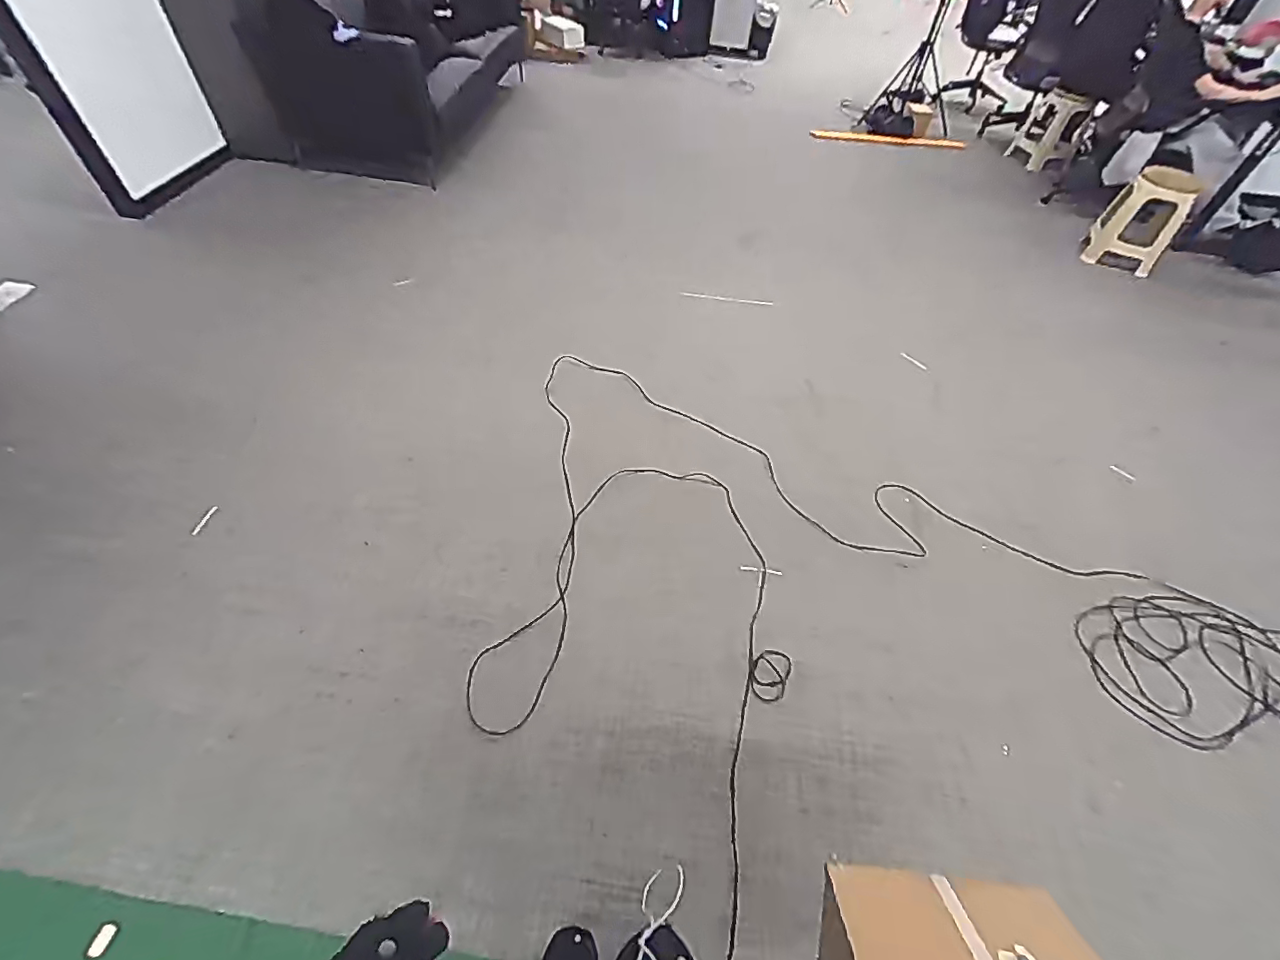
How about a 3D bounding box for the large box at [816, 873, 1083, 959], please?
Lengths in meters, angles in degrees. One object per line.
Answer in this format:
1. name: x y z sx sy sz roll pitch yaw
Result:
1. large box: 0.400 0.764 0.615 0.320 0.320 0.408 5 6 5
